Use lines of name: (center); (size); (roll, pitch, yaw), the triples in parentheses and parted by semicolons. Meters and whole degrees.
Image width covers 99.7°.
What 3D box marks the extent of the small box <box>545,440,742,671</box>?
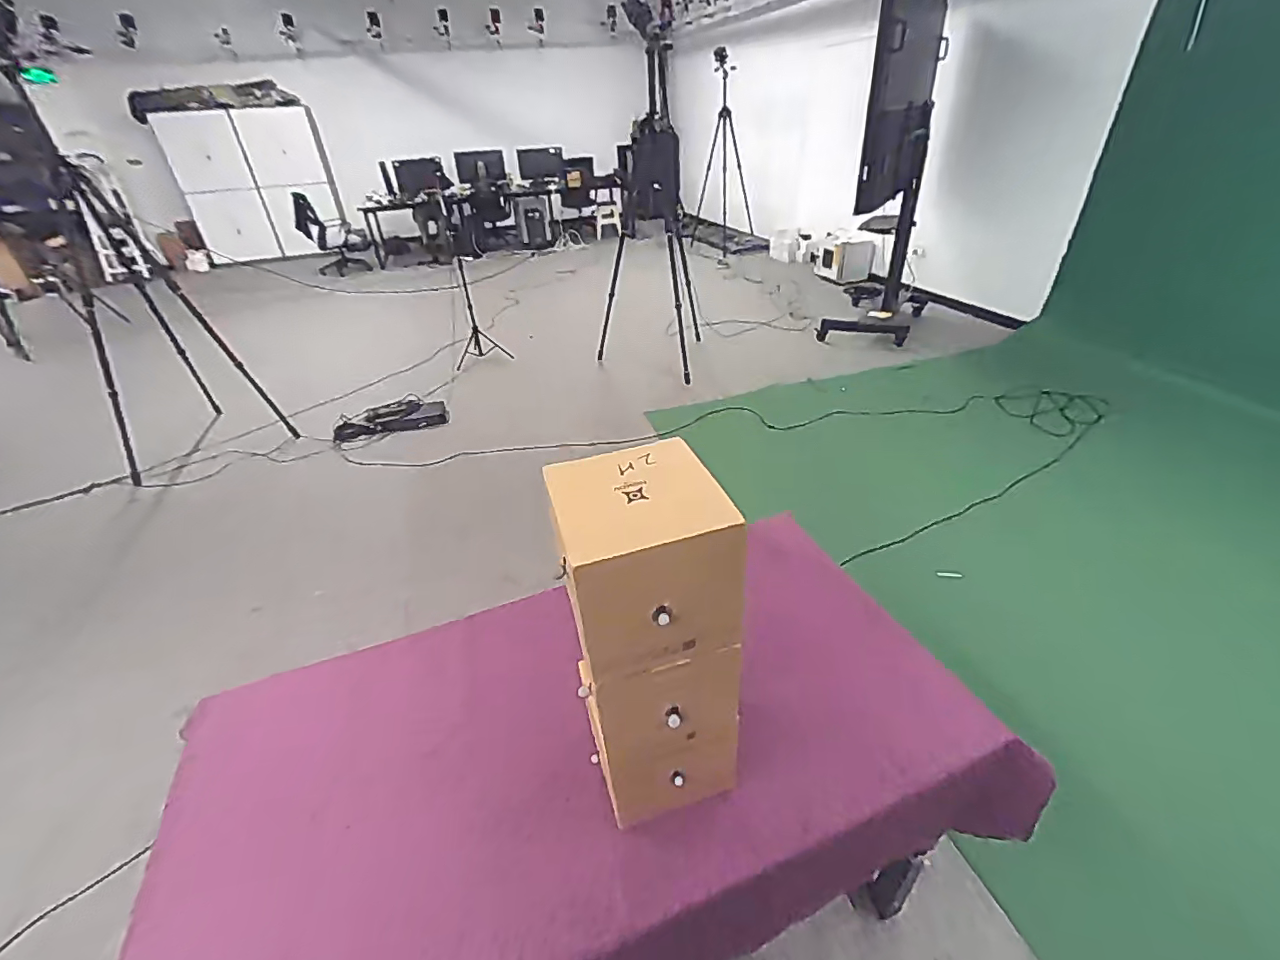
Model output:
small box: (0.001, 0.083, 0.590); (0.168, 0.176, 0.179); (-12, 34, -12)

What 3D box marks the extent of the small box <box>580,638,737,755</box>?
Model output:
small box: (0.013, 0.218, 0.684); (0.168, 0.176, 0.179); (-12, 35, -11)
